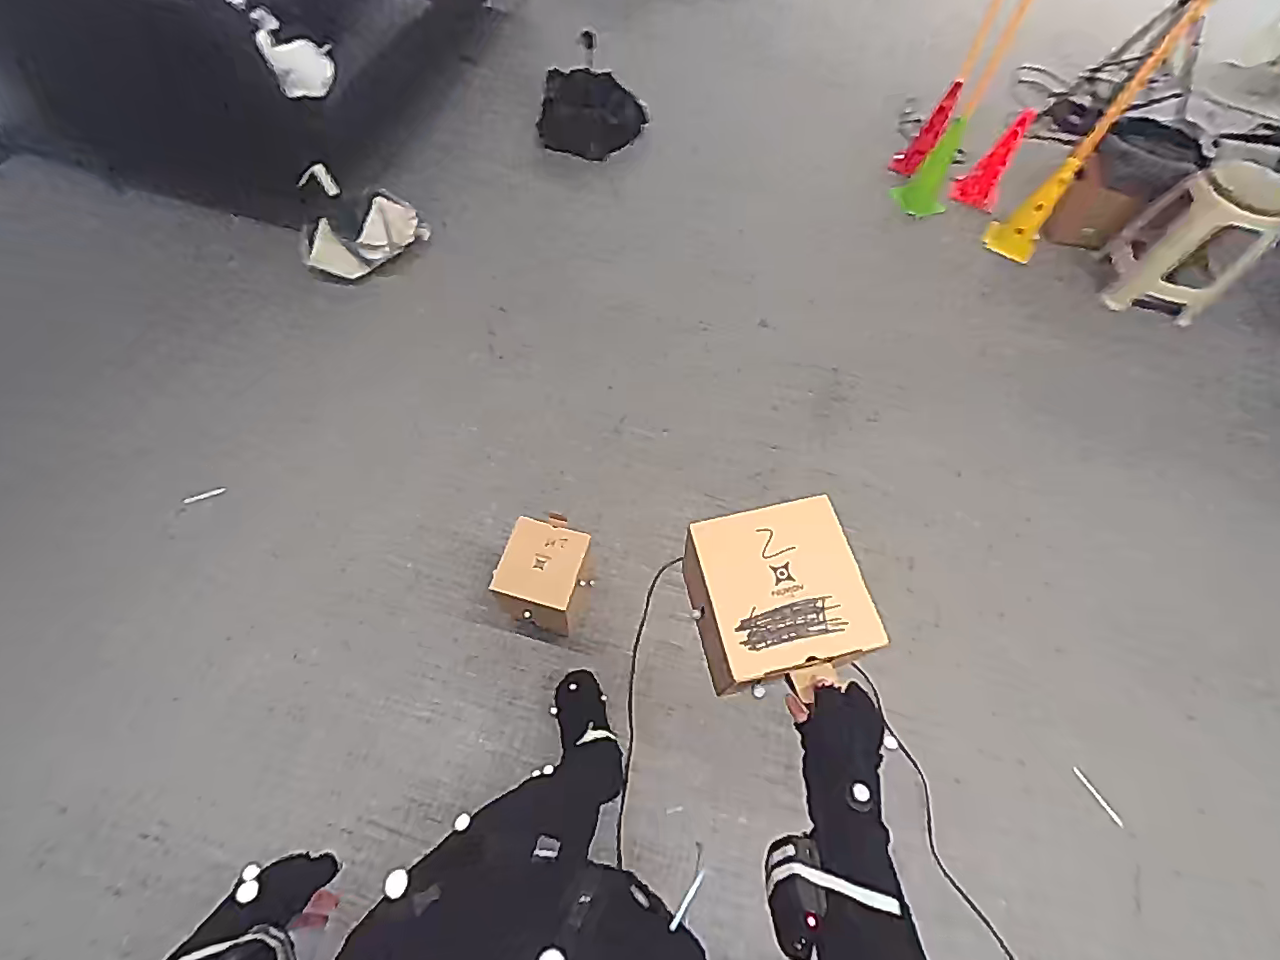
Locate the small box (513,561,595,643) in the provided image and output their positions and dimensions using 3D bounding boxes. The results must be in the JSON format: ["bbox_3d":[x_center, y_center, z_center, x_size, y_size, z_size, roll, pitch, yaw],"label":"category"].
[{"bbox_3d":[-0.221,0.285,1.352,0.168,0.176,0.179,18,62,6],"label":"small box"}]

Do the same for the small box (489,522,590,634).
[{"bbox_3d":[-0.210,0.224,1.198,0.168,0.176,0.179,16,61,4],"label":"small box"}]
